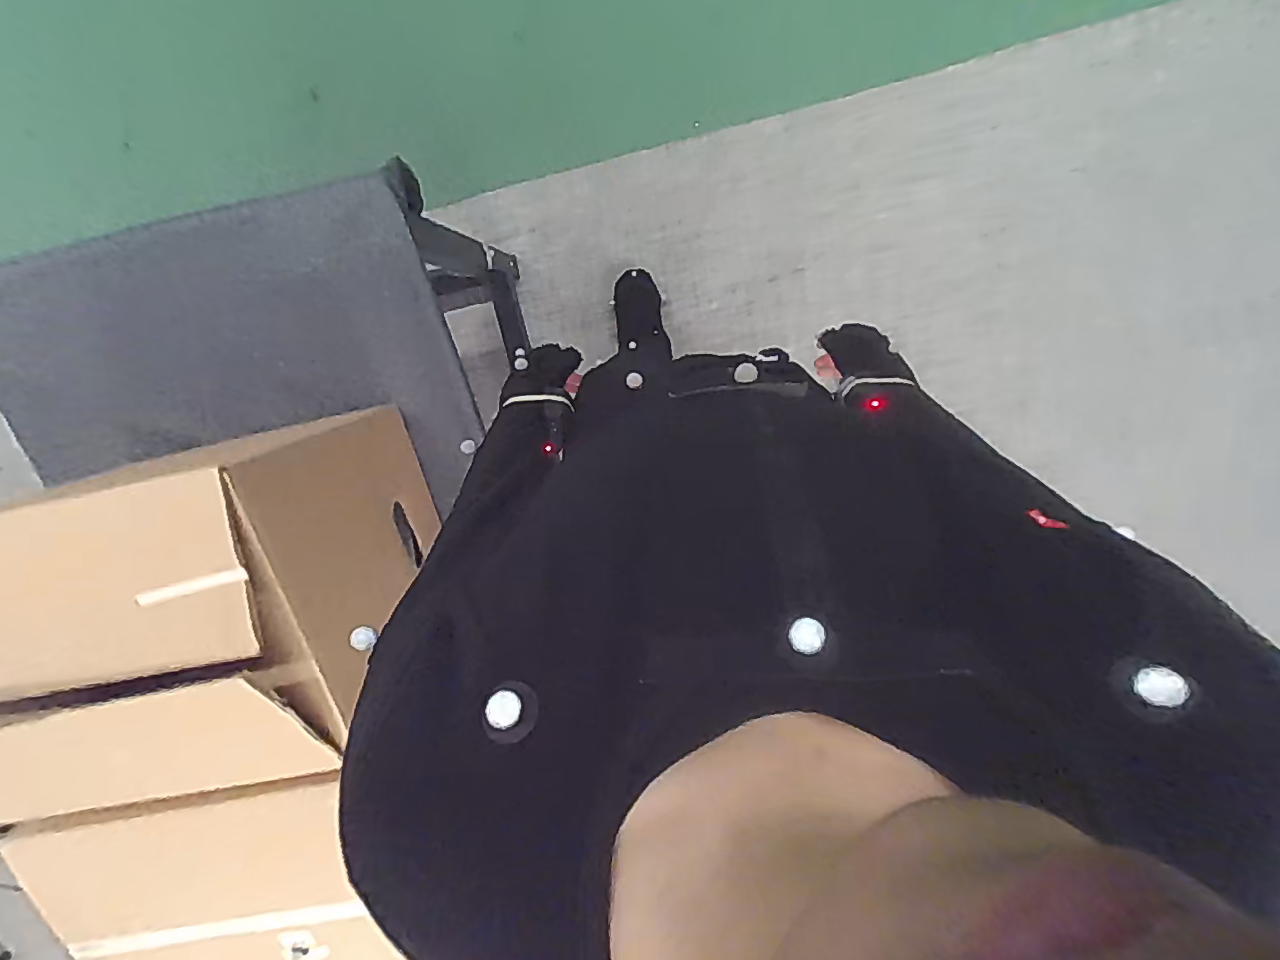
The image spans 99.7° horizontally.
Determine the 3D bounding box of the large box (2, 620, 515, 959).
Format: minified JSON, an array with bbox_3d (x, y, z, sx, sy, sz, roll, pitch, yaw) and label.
[{"bbox_3d":[-0.432,0.430,0.721,0.408,0.320,0.320,-13,106,5],"label":"large box"}]
